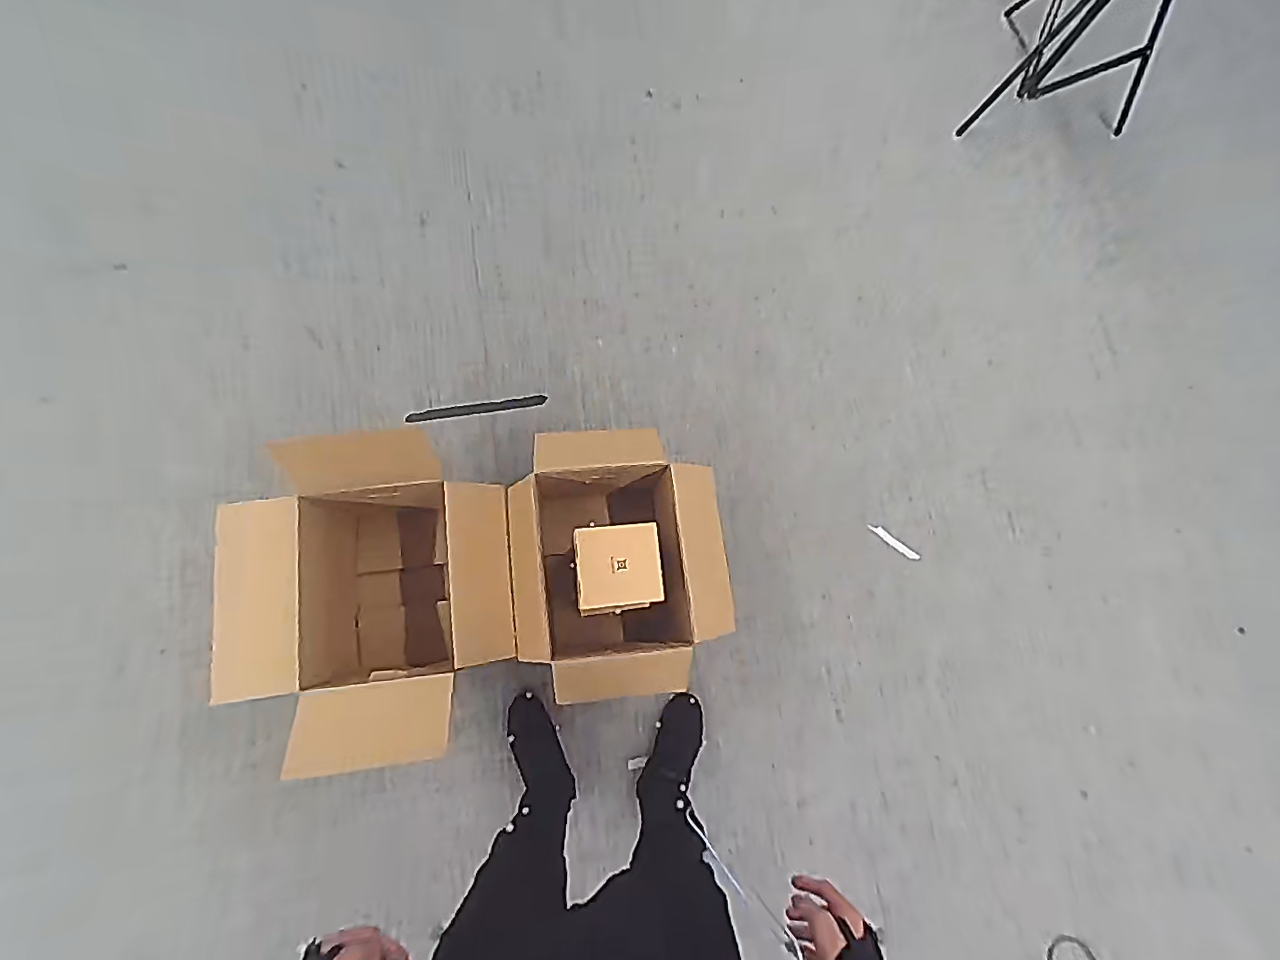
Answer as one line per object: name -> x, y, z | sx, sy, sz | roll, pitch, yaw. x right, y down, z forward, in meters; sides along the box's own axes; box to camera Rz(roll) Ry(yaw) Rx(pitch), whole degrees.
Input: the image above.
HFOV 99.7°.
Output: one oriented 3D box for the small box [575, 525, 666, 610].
small box -> -0.050, 0.192, 1.192 | 0.179, 0.176, 0.168 | -4, 80, -8
